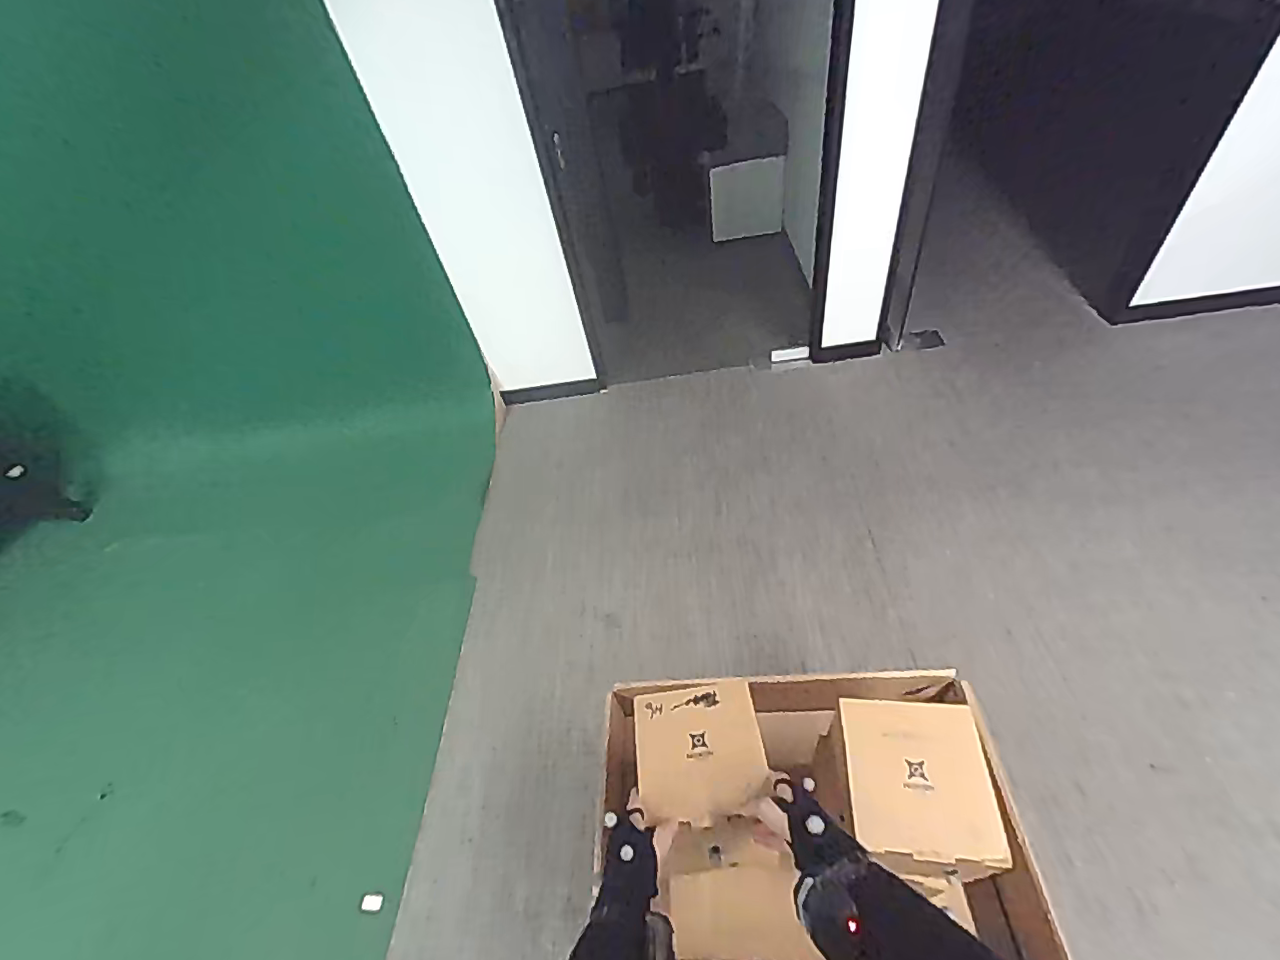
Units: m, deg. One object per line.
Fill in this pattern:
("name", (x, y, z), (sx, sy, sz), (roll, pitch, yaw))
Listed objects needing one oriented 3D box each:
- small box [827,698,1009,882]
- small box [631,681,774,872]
("small box", (0.346, 0.409, 0.713), (0.168, 0.176, 0.179), (0, 49, 11))
("small box", (0.084, 0.408, 0.739), (0.168, 0.176, 0.179), (-9, 36, 3))
